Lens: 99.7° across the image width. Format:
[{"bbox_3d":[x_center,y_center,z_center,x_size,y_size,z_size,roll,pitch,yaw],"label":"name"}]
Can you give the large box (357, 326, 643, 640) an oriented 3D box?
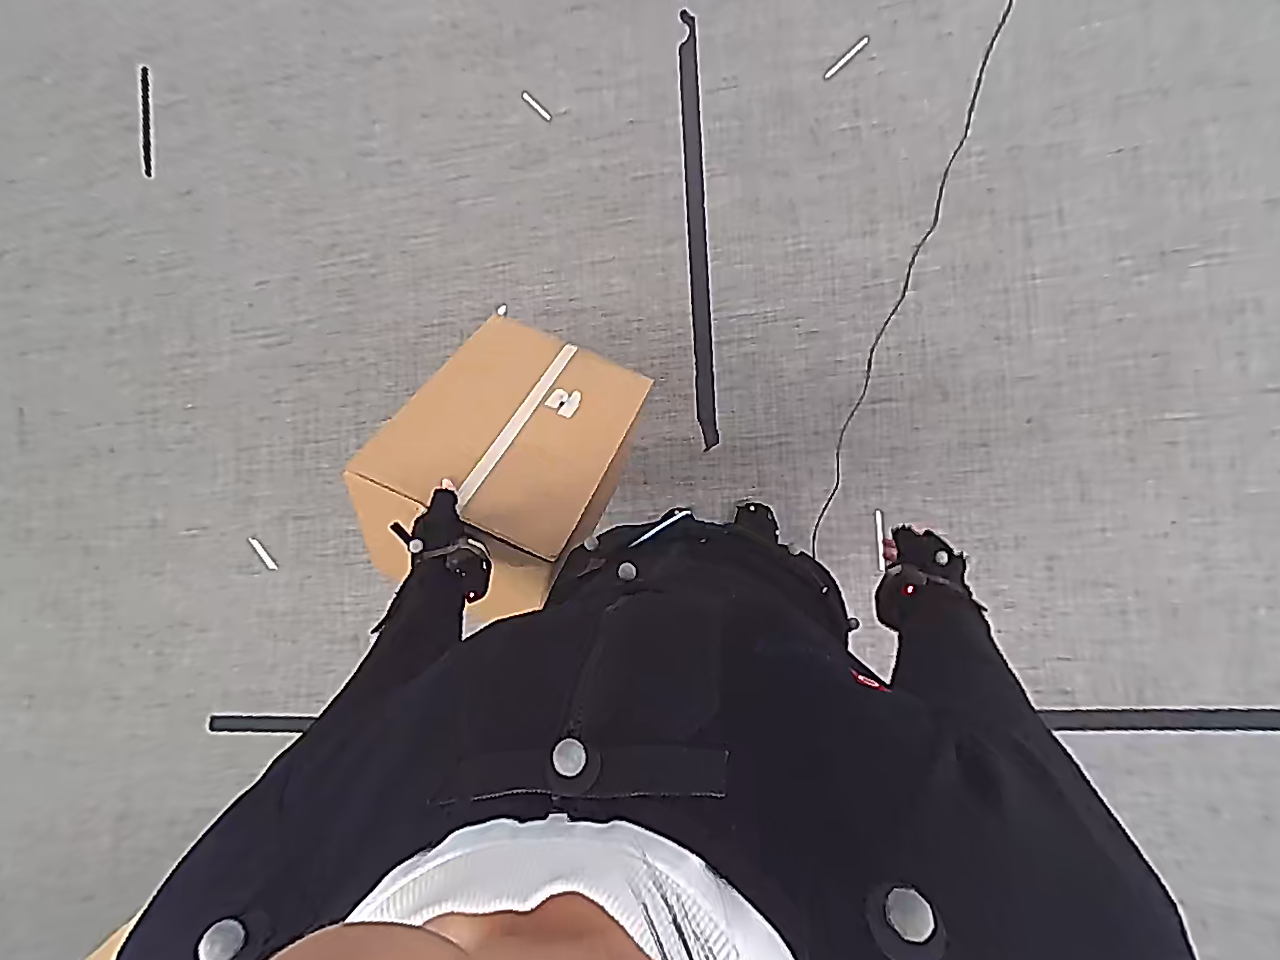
[{"bbox_3d":[-0.225,0.004,0.966,0.320,0.320,0.408,23,49,0],"label":"large box"}]
